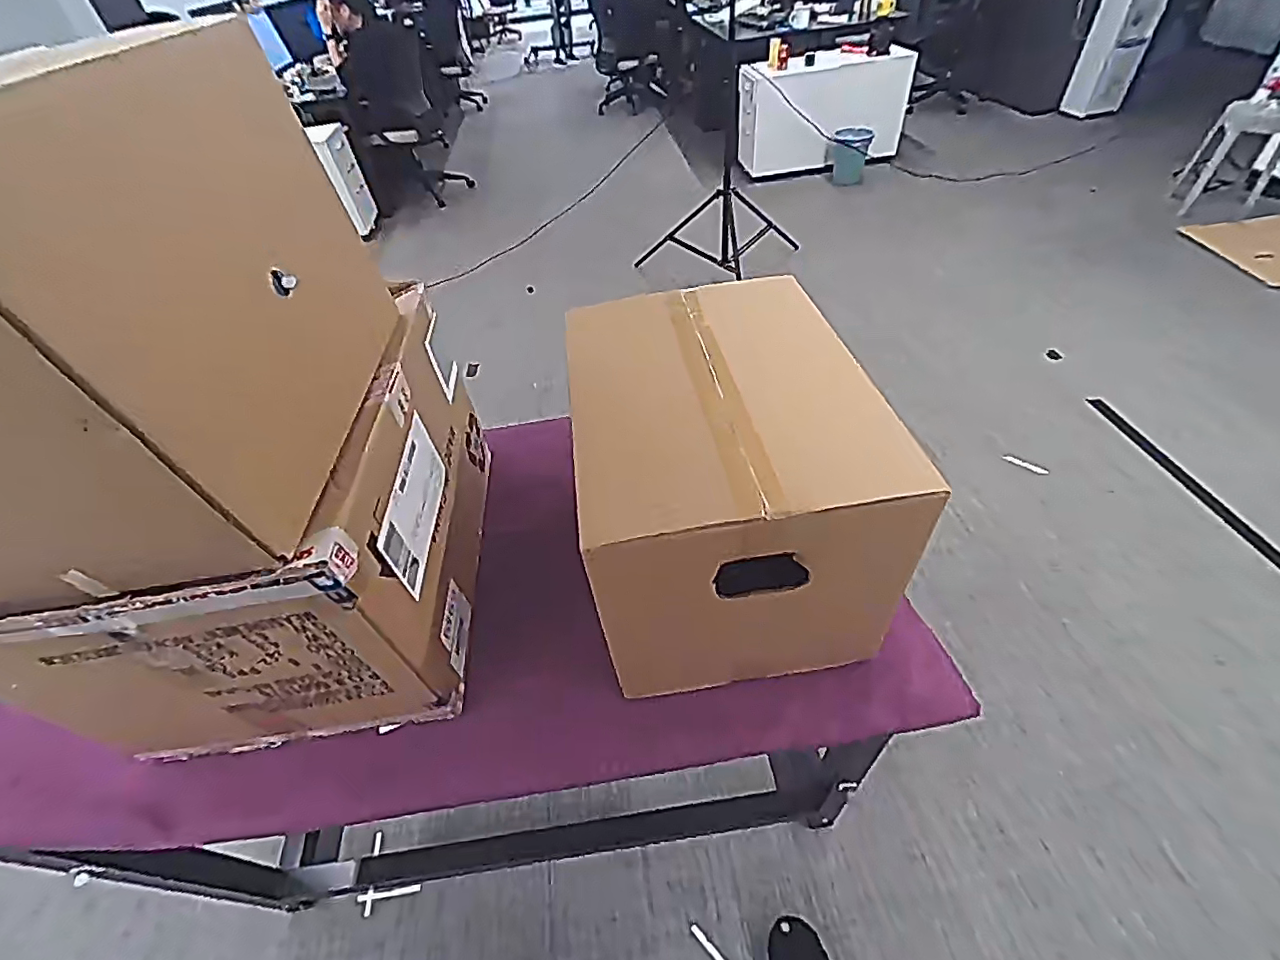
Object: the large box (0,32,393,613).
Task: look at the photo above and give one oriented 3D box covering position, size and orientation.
[{"bbox_3d":[-0.472,-0.150,0.484,0.320,0.320,0.408,-11,47,3],"label":"large box"}]
